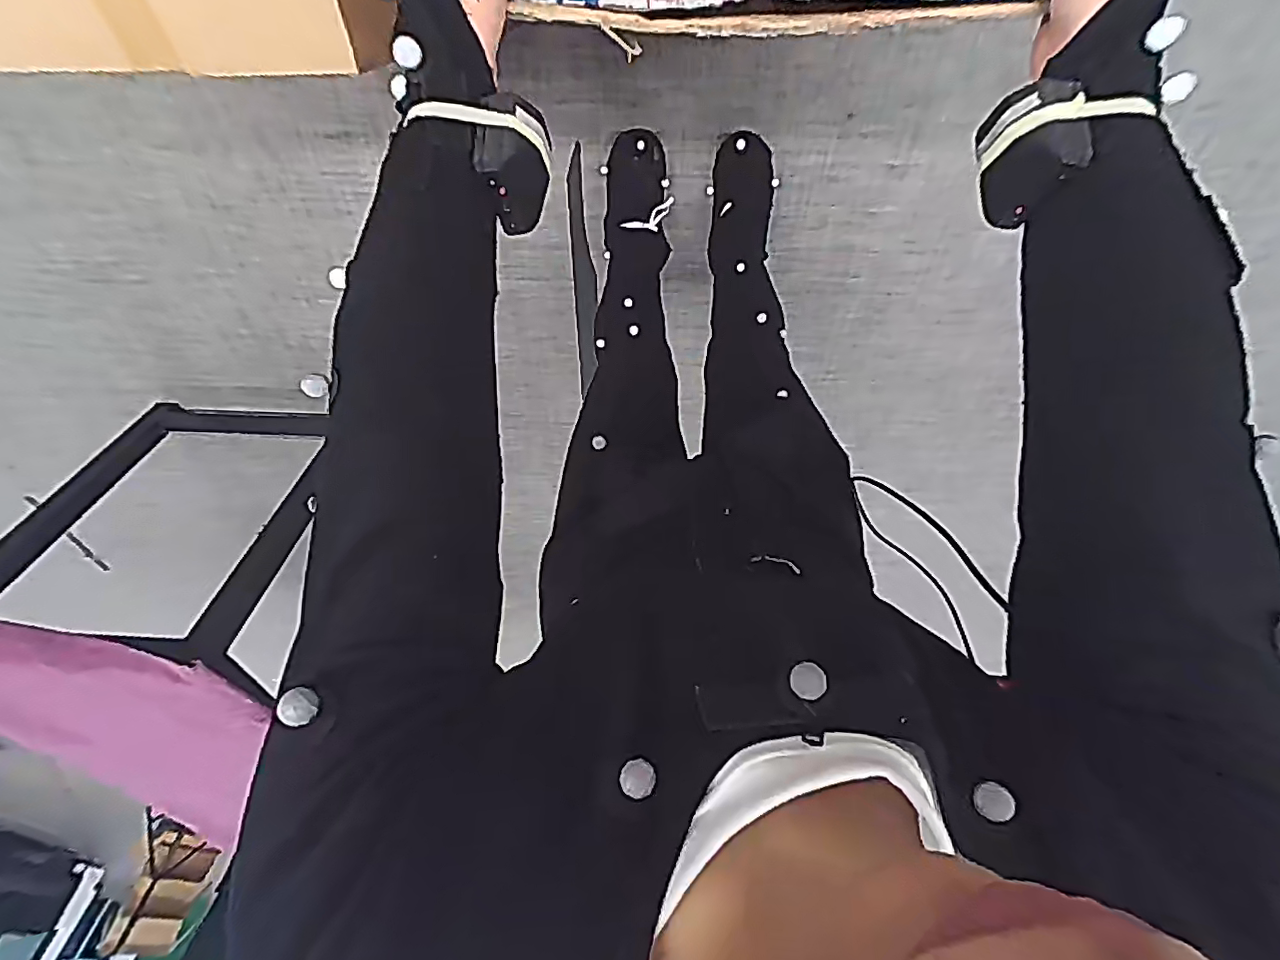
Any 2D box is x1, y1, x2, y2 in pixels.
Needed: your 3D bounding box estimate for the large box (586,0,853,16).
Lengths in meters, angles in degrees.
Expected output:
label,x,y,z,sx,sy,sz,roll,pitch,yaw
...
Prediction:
label,x,y,z,sx,sy,sz,roll,pitch,yaw
large box,0.088,-0.787,0.589,0.320,0.320,0.408,1,135,2
